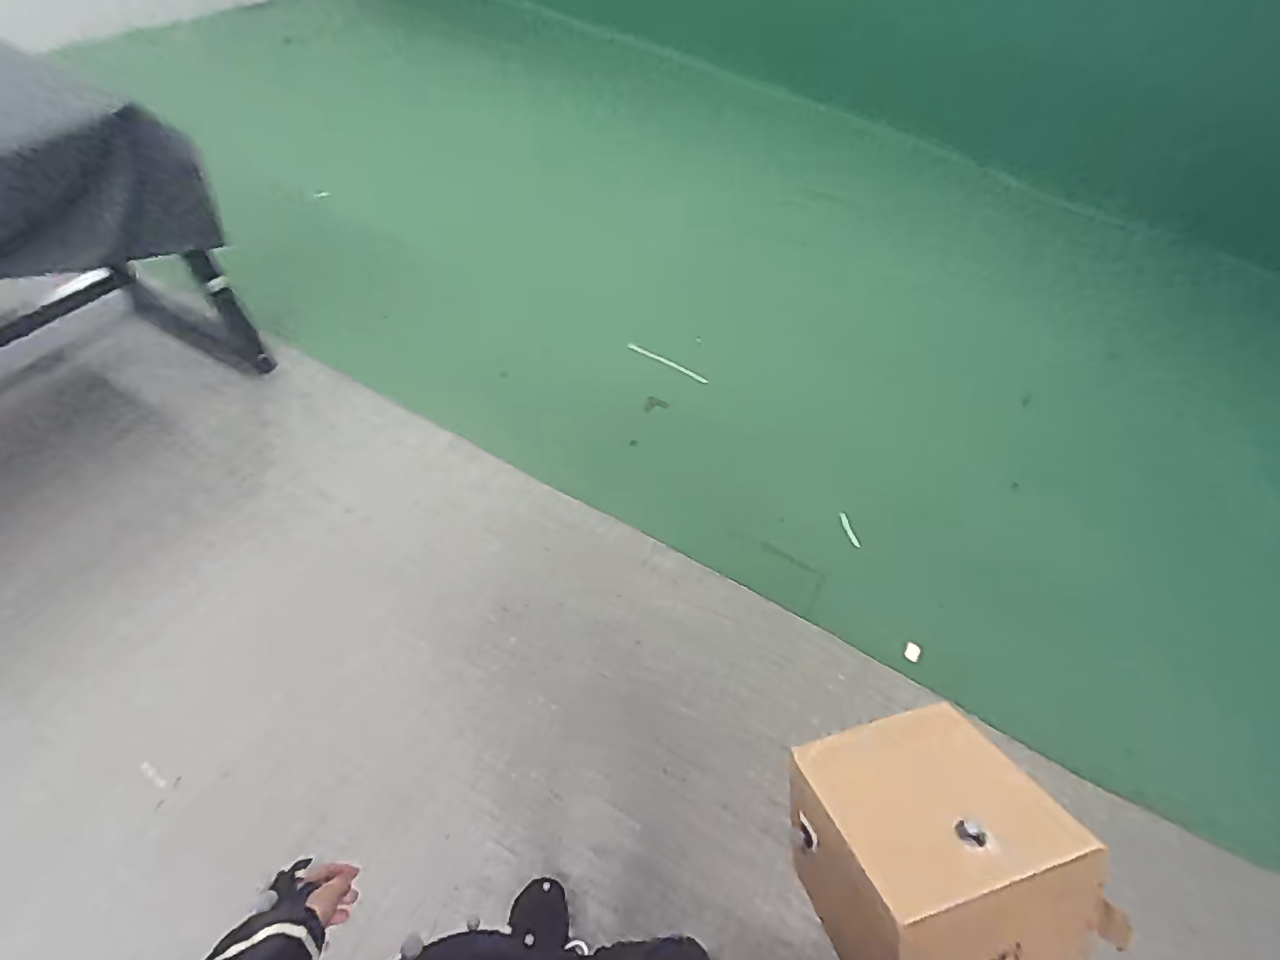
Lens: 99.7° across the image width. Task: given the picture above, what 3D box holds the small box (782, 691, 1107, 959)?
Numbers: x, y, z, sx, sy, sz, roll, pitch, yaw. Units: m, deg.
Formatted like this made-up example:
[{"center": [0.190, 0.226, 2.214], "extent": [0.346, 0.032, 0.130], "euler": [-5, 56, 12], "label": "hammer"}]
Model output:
[{"center": [0.246, 0.317, 0.475], "extent": [0.179, 0.168, 0.176], "euler": [-12, 19, -9], "label": "small box"}]
